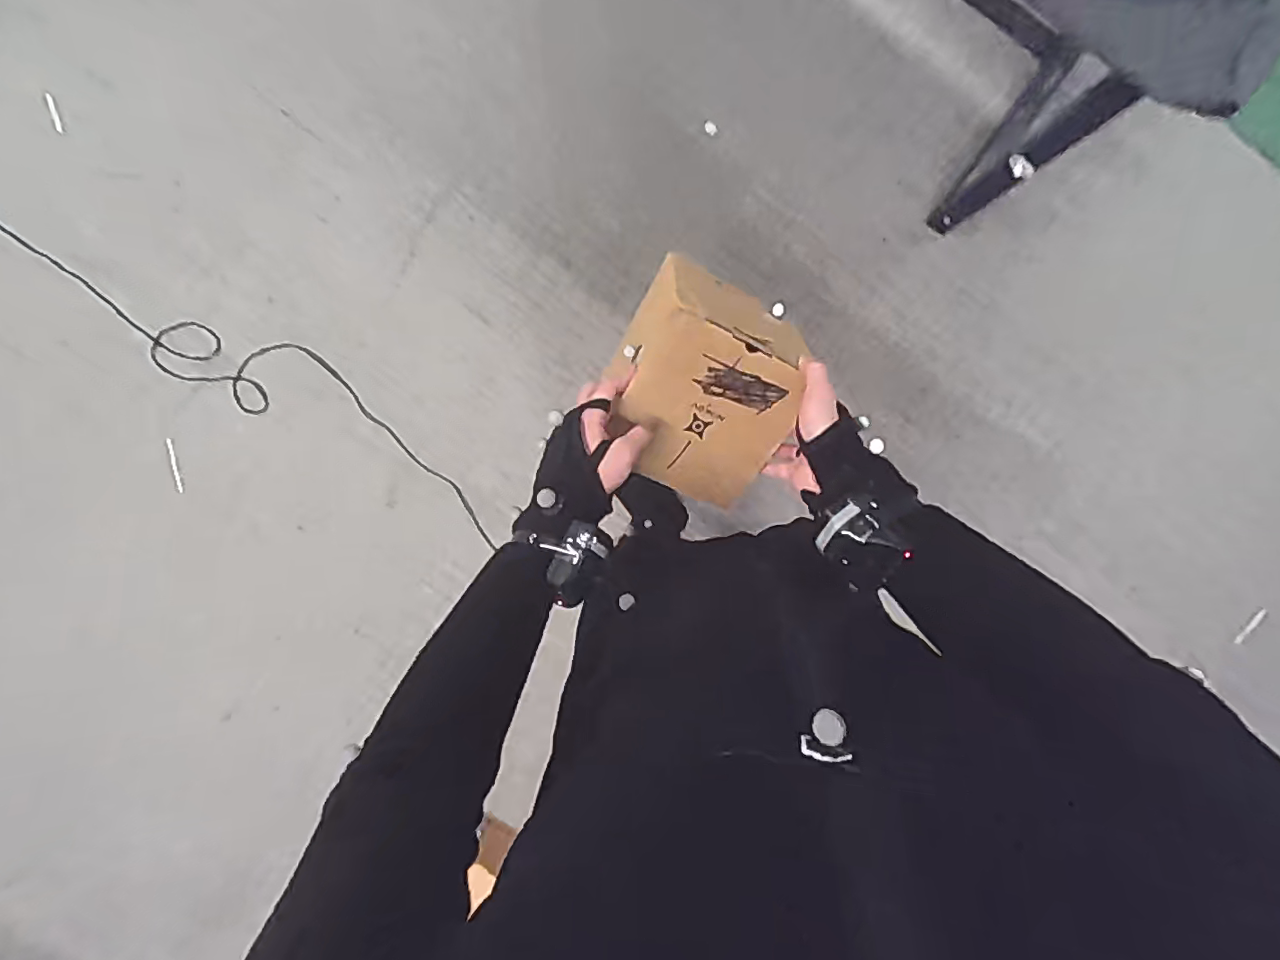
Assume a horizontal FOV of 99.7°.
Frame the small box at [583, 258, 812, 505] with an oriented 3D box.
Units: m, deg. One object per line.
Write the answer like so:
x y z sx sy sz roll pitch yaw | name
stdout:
0.052 -0.111 0.587 0.168 0.176 0.179 23 124 -14 | small box
